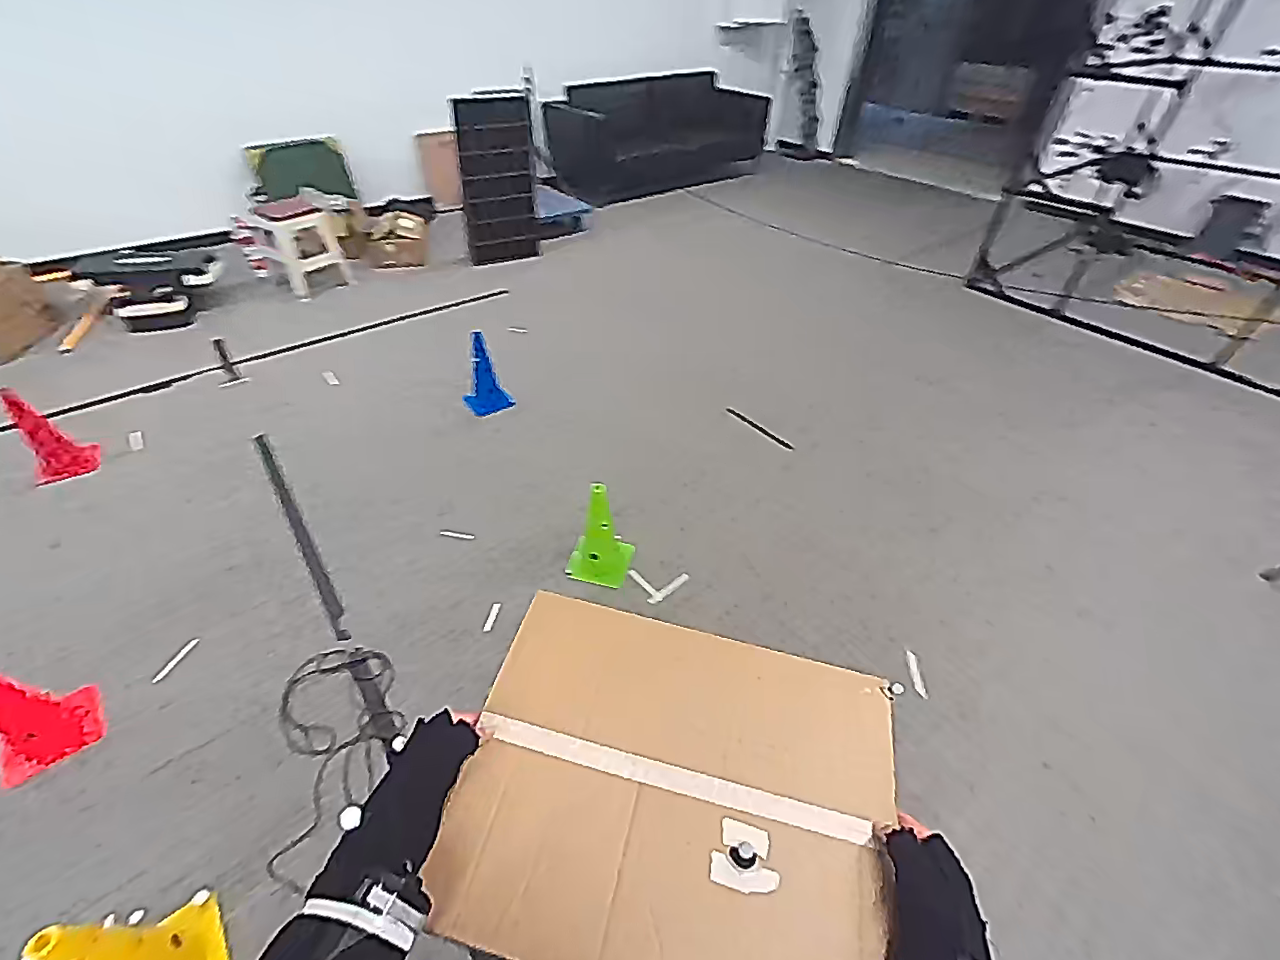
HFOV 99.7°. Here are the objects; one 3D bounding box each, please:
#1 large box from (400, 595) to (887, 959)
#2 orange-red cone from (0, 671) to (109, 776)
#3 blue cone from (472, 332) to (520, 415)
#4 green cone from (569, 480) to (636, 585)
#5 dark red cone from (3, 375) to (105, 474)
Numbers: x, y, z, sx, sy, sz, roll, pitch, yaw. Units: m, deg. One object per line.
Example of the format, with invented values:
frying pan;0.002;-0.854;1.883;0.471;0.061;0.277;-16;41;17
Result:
large box;0.016;0.382;0.626;0.408;0.320;0.320;13;48;6
orange-red cone;-1.534;0.528;1.317;0.198;0.360;0.199;-30;53;-29
blue cone;-0.696;-0.507;2.513;0.192;0.380;0.193;-23;48;-27
green cone;-0.121;0.150;1.792;0.200;0.368;0.202;11;42;9
dark red cone;-2.282;-0.223;2.071;0.201;0.394;0.202;-21;48;-25
